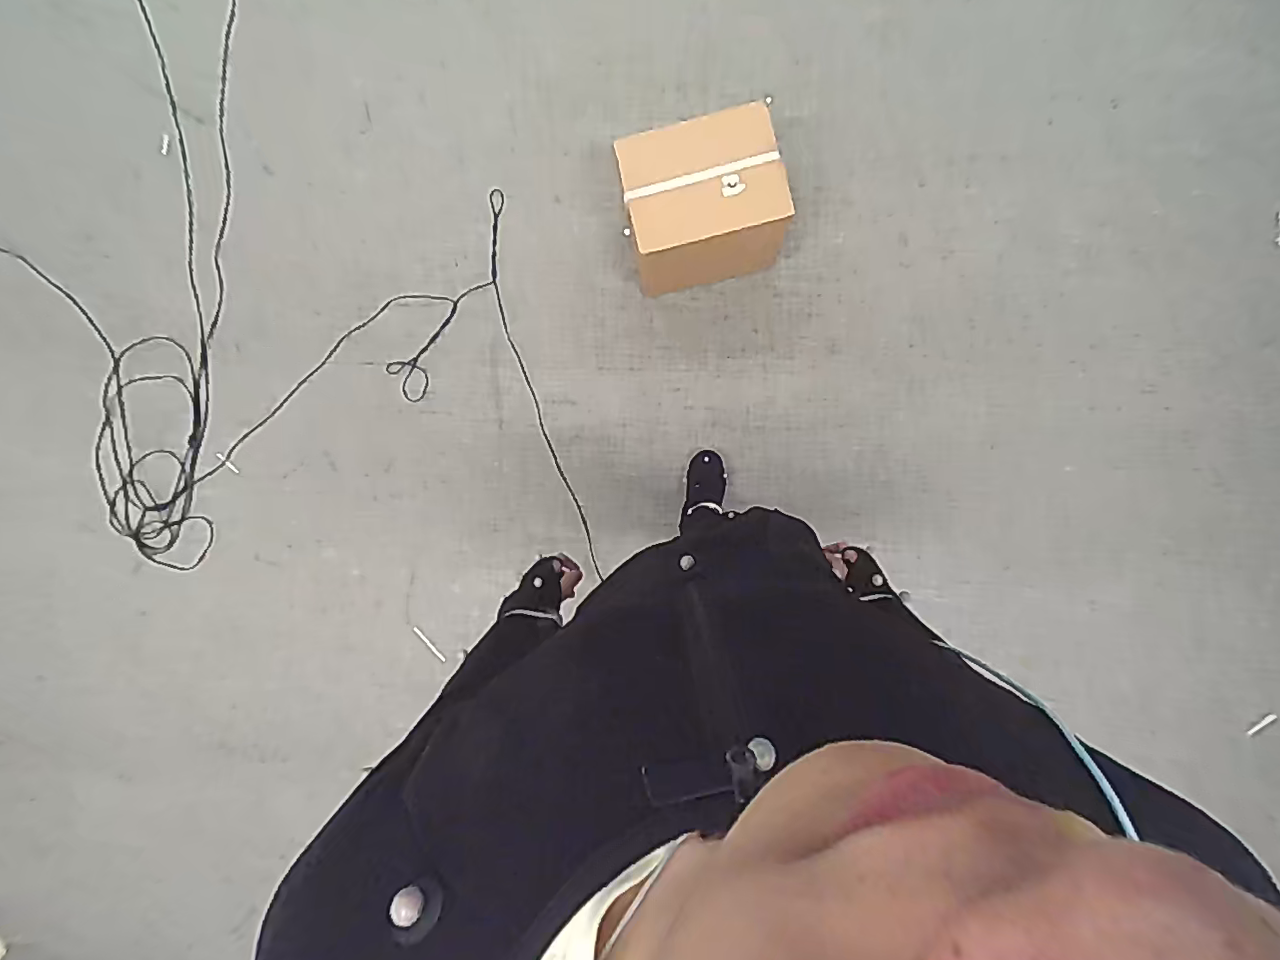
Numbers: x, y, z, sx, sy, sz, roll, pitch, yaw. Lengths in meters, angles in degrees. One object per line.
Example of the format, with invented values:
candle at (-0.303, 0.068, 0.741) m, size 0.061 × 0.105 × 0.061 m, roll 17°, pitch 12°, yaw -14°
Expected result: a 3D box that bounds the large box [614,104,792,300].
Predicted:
large box at (0.166, -0.755, 1.525) m, size 0.408 × 0.320 × 0.320 m, roll -13°, pitch 87°, yaw 3°
